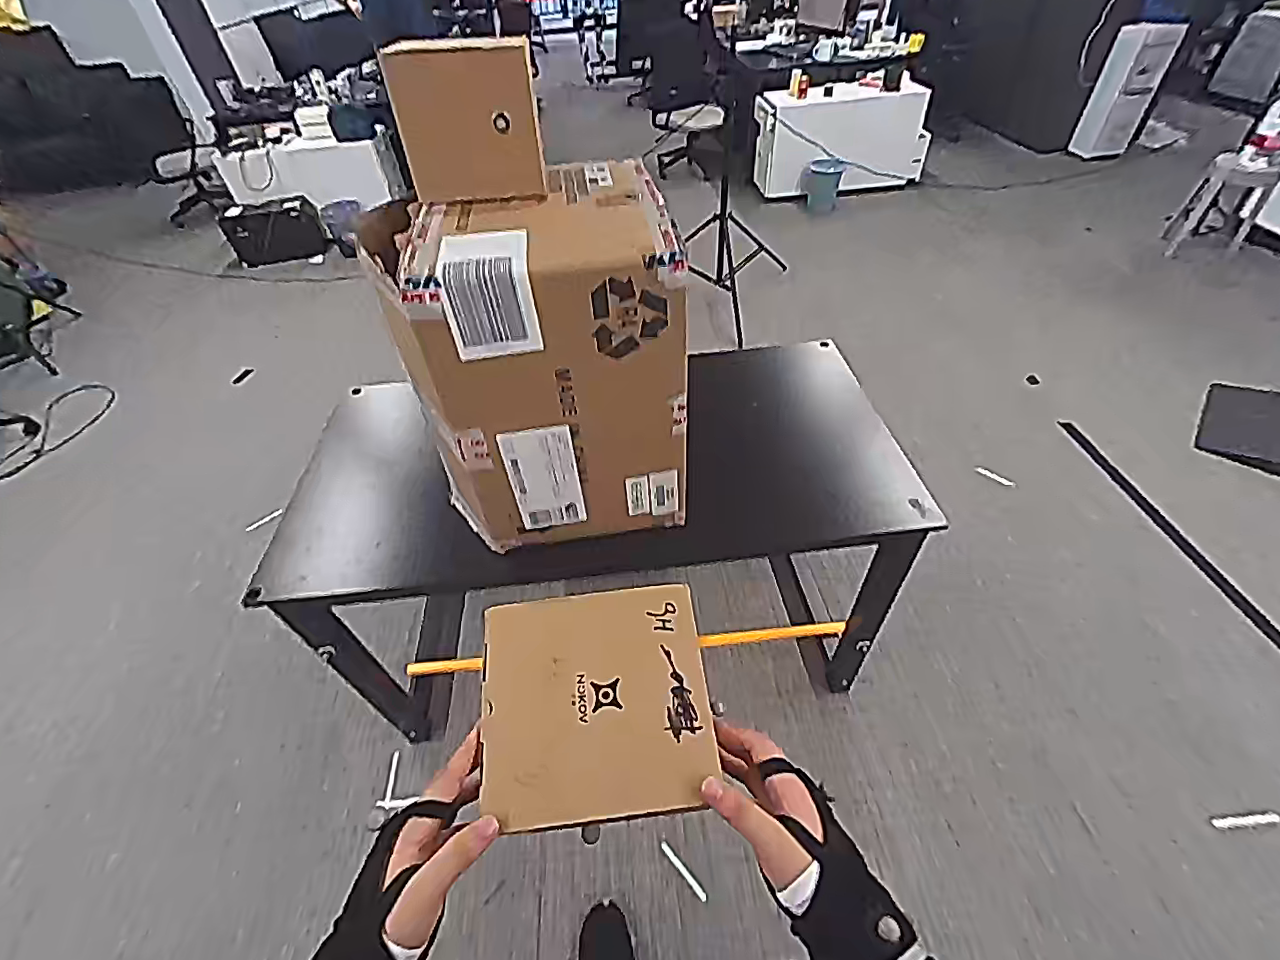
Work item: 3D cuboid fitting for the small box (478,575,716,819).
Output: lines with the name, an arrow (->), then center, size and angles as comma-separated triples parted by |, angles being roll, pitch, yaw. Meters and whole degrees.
small box -> -0.033, 0.204, 0.496 | 0.179, 0.176, 0.168 | -6, 57, -2

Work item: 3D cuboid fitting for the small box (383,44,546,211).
small box -> -0.229, -0.495, 0.761 | 0.179, 0.176, 0.168 | -8, 42, -4
